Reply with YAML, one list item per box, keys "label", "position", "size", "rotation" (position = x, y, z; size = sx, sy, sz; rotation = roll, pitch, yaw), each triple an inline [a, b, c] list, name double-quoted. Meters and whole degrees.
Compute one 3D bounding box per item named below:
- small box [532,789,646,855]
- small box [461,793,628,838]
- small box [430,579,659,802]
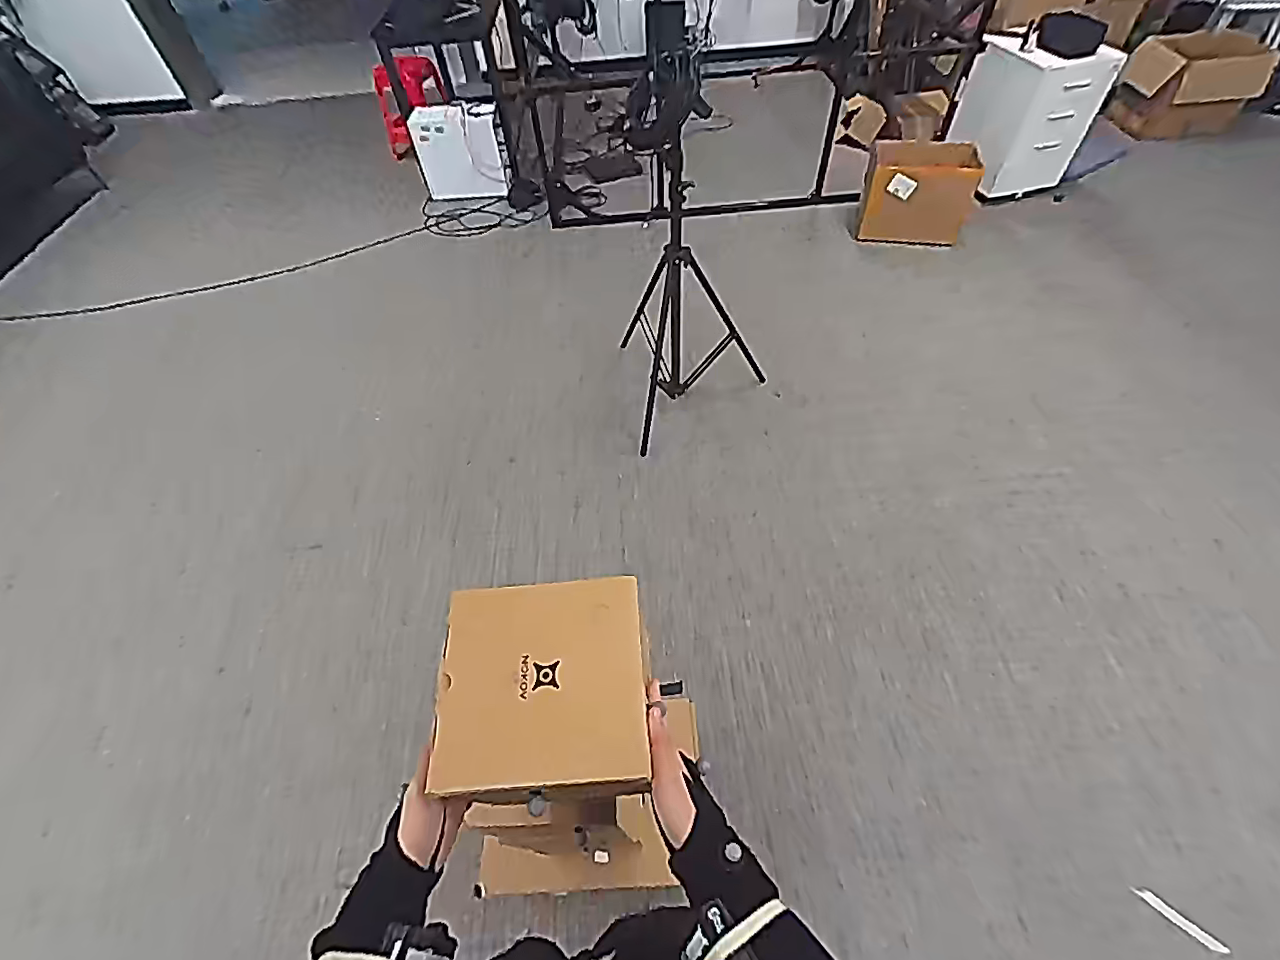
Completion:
- label: "small box"
  position: [-0.085, 0.554, 0.954]
  size: [0.179, 0.176, 0.168]
  rotation: [-5, 54, -1]
- label: "small box"
  position: [-0.105, 0.354, 0.692]
  size: [0.179, 0.176, 0.168]
  rotation: [-3, 53, 2]
- label: "small box"
  position: [-0.075, 0.210, 0.523]
  size: [0.179, 0.176, 0.168]
  rotation: [-7, 57, 3]
